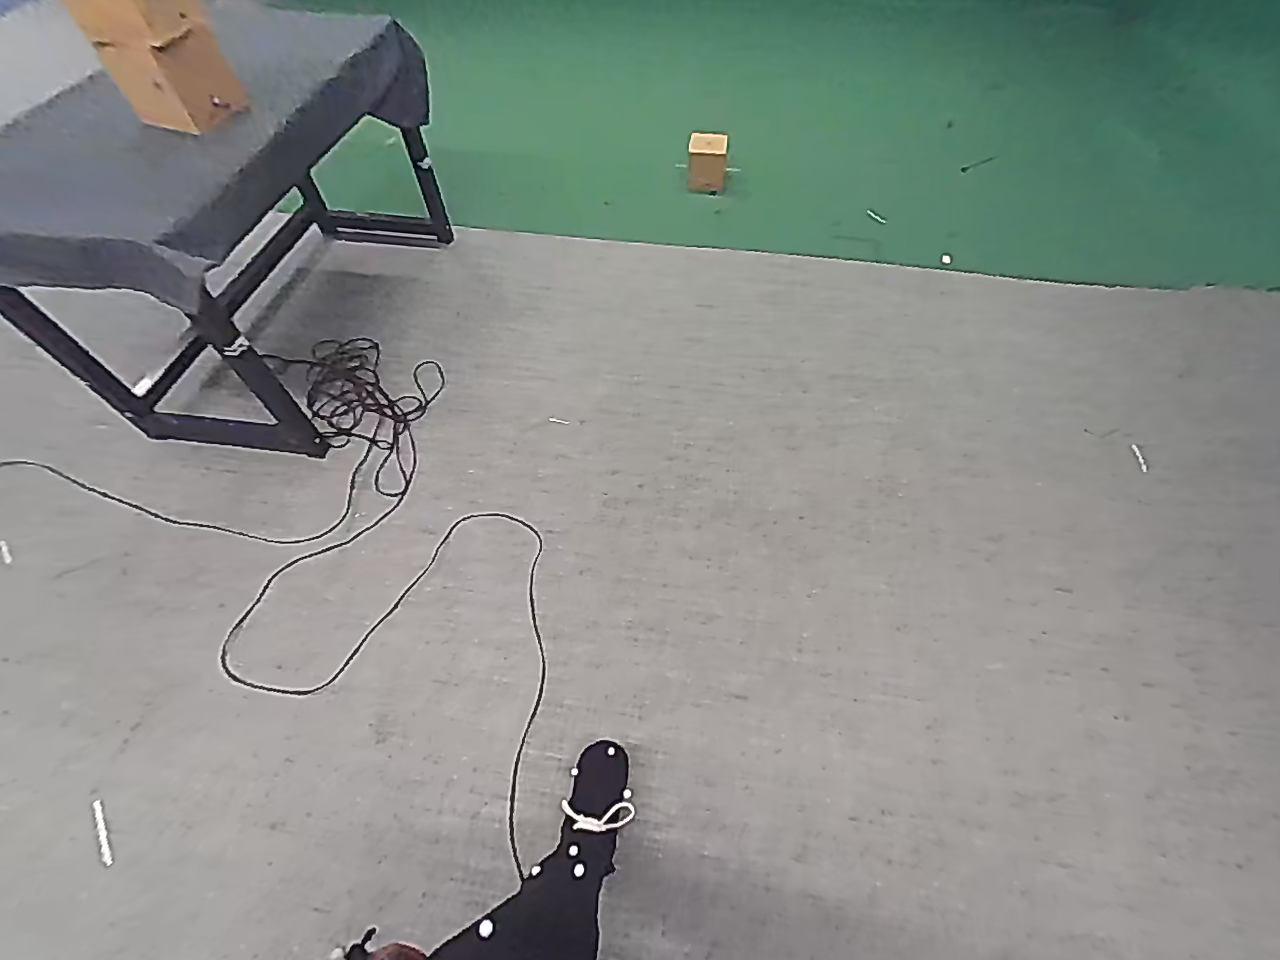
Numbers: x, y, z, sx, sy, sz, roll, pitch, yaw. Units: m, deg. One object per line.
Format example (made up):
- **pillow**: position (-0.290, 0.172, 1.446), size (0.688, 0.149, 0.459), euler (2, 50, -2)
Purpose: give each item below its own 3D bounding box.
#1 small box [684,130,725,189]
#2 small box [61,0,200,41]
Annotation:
- **small box**: position (0.291, -1.457, 2.458), size (0.168, 0.176, 0.179), euler (6, 57, 5)
- **small box**: position (-1.061, -1.023, 1.096), size (0.179, 0.176, 0.168), euler (9, 57, 6)
